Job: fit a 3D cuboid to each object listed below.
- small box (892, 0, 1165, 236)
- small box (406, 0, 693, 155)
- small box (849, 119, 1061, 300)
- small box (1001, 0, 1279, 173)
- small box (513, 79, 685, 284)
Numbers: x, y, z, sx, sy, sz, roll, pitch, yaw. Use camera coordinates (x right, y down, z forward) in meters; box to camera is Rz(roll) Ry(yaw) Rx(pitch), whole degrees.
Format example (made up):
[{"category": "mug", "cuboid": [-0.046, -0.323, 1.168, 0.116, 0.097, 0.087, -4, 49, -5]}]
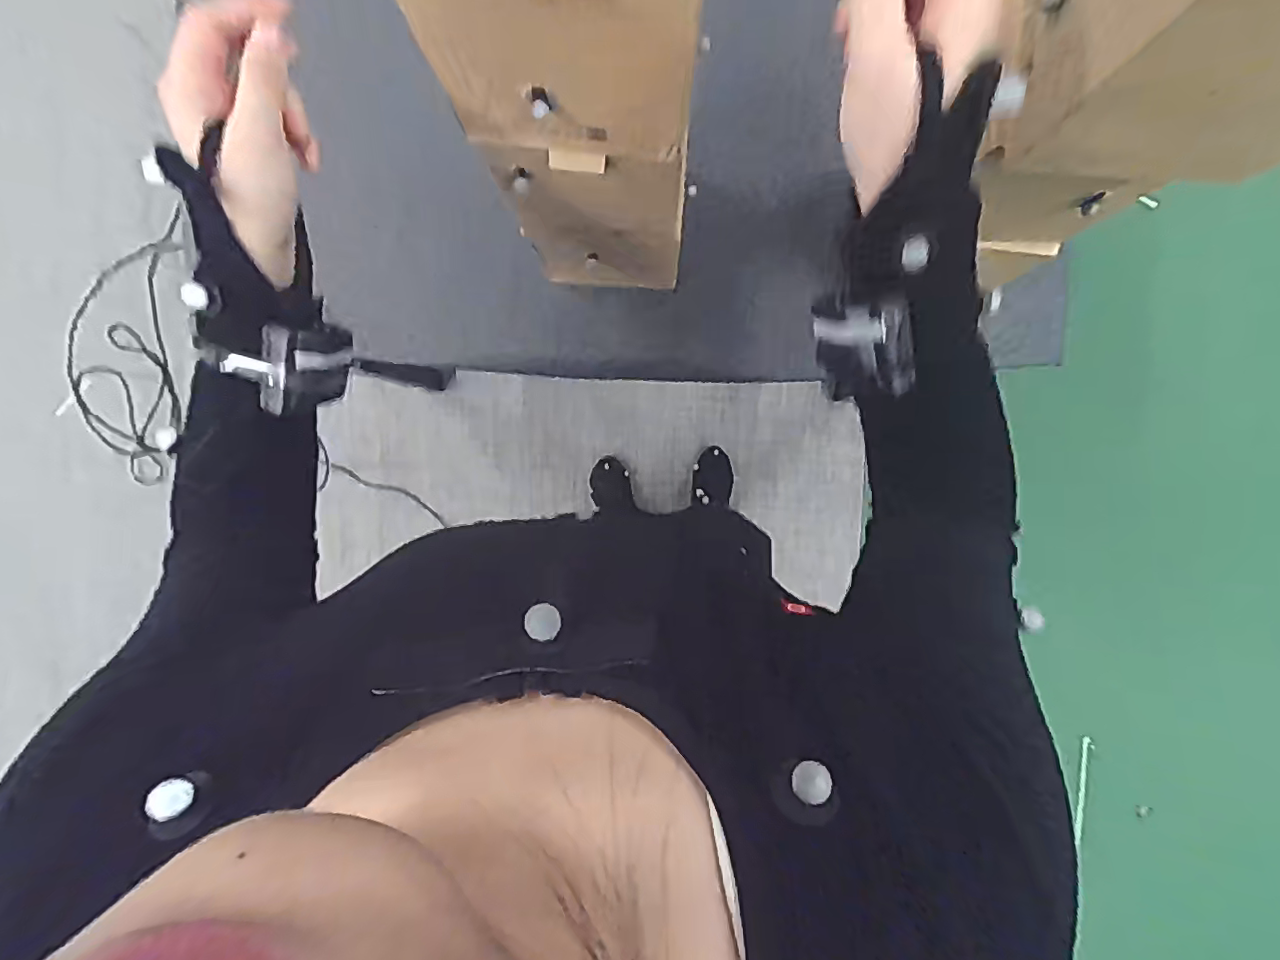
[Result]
[{"category": "small box", "cuboid": [0.348, -0.332, 0.476, 0.179, 0.176, 0.168, 0, 90, 3]}, {"category": "small box", "cuboid": [-0.048, -0.337, 0.324, 0.168, 0.176, 0.179, 7, 92, 1]}, {"category": "small box", "cuboid": [0.363, -0.333, 0.638, 0.168, 0.176, 0.179, 7, 92, 2]}, {"category": "small box", "cuboid": [0.355, -0.305, 0.312, 0.179, 0.176, 0.168, 5, 90, 2]}, {"category": "small box", "cuboid": [-0.041, -0.347, 0.652, 0.179, 0.176, 0.168, 4, 92, 2]}]
